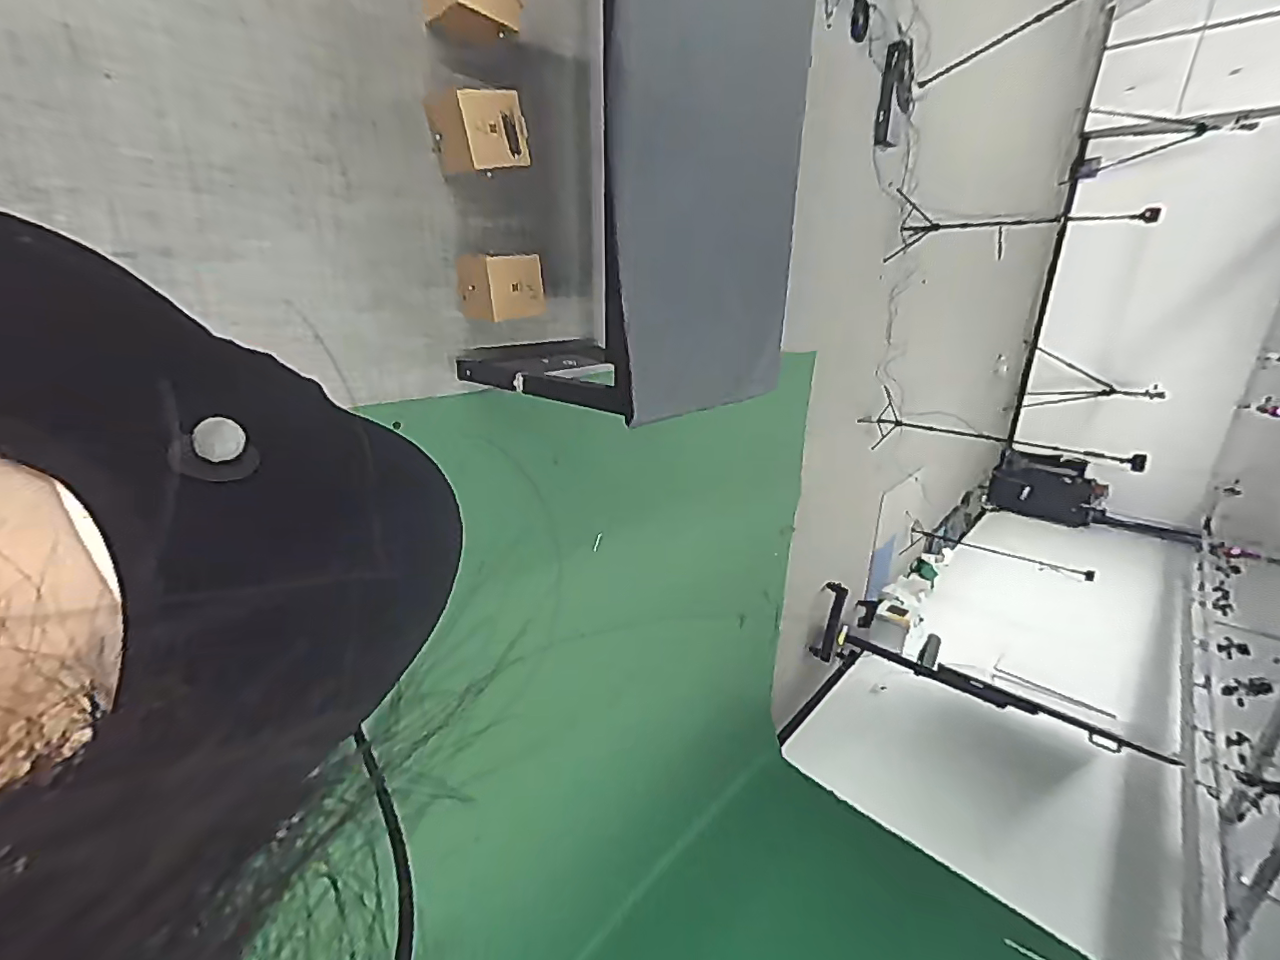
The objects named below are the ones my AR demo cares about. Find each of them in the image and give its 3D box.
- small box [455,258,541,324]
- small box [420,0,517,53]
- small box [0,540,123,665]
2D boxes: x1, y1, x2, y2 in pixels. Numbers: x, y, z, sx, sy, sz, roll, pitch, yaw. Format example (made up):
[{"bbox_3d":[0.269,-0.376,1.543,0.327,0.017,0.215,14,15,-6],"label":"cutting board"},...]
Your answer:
[{"bbox_3d":[-0.410,-0.541,1.545,0.179,0.176,0.168,-25,122,-41],"label":"small box"},{"bbox_3d":[-0.420,-1.178,1.309,0.179,0.176,0.168,-14,114,-46],"label":"small box"},{"bbox_3d":[-1.127,0.225,1.008,0.179,0.176,0.168,32,80,-50],"label":"small box"}]
